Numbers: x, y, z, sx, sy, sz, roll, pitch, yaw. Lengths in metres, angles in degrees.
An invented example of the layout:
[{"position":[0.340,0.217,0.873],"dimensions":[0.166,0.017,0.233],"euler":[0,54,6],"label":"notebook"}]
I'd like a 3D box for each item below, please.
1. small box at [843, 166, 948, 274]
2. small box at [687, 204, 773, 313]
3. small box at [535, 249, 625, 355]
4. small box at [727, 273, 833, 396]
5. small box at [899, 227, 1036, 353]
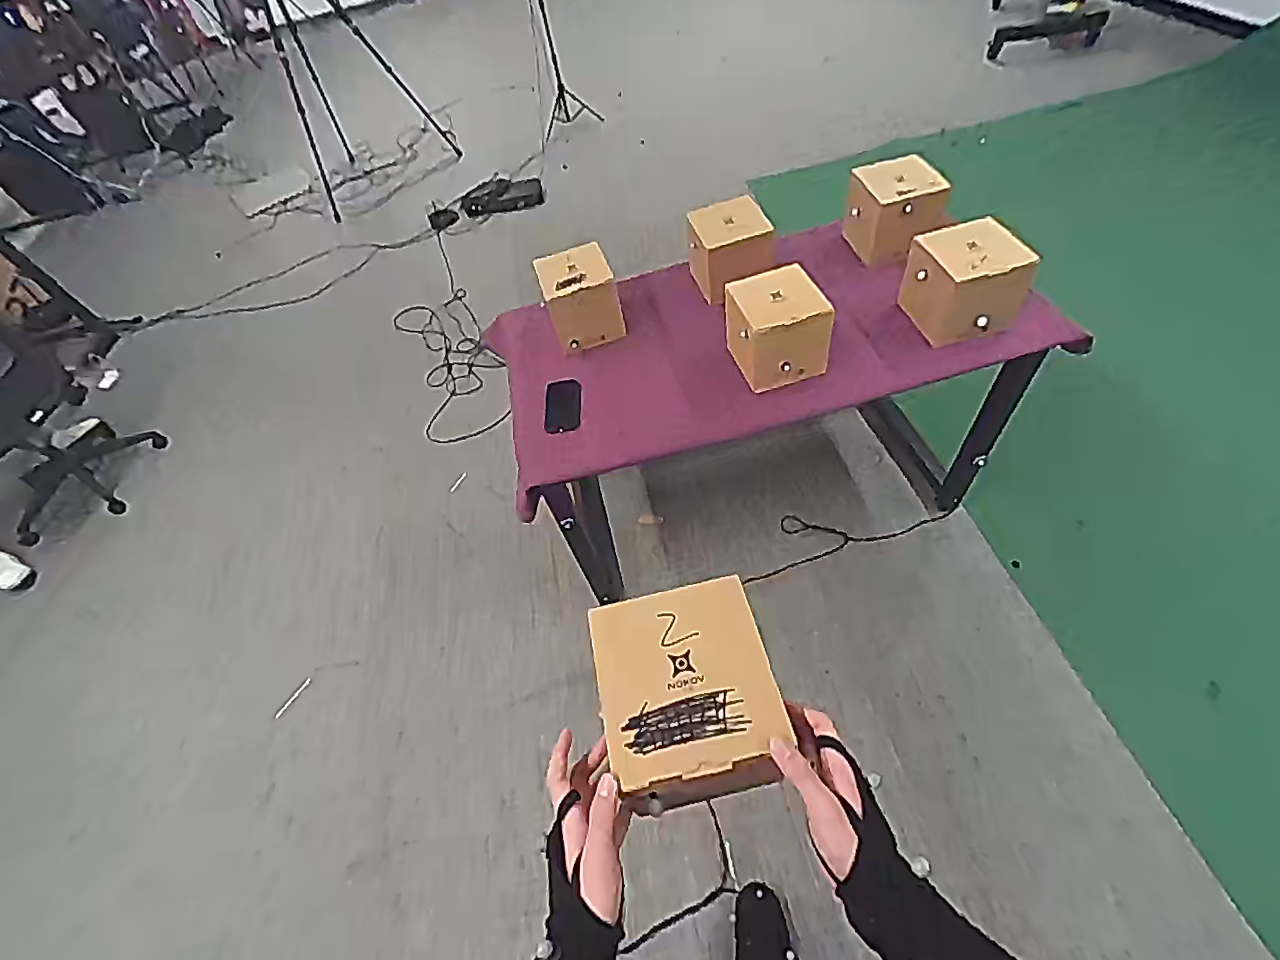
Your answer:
[{"position":[0.624,-0.645,1.348],"dimensions":[0.168,0.176,0.179],"euler":[-14,52,2],"label":"small box"},{"position":[0.223,-0.553,1.357],"dimensions":[0.168,0.176,0.179],"euler":[-16,53,0],"label":"small box"},{"position":[-0.145,-0.430,1.332],"dimensions":[0.168,0.176,0.179],"euler":[-18,52,-3],"label":"small box"},{"position":[0.291,-0.310,1.163],"dimensions":[0.168,0.176,0.179],"euler":[-17,52,-2],"label":"small box"},{"position":[0.681,-0.401,1.152],"dimensions":[0.168,0.176,0.179],"euler":[-14,52,2],"label":"small box"}]
